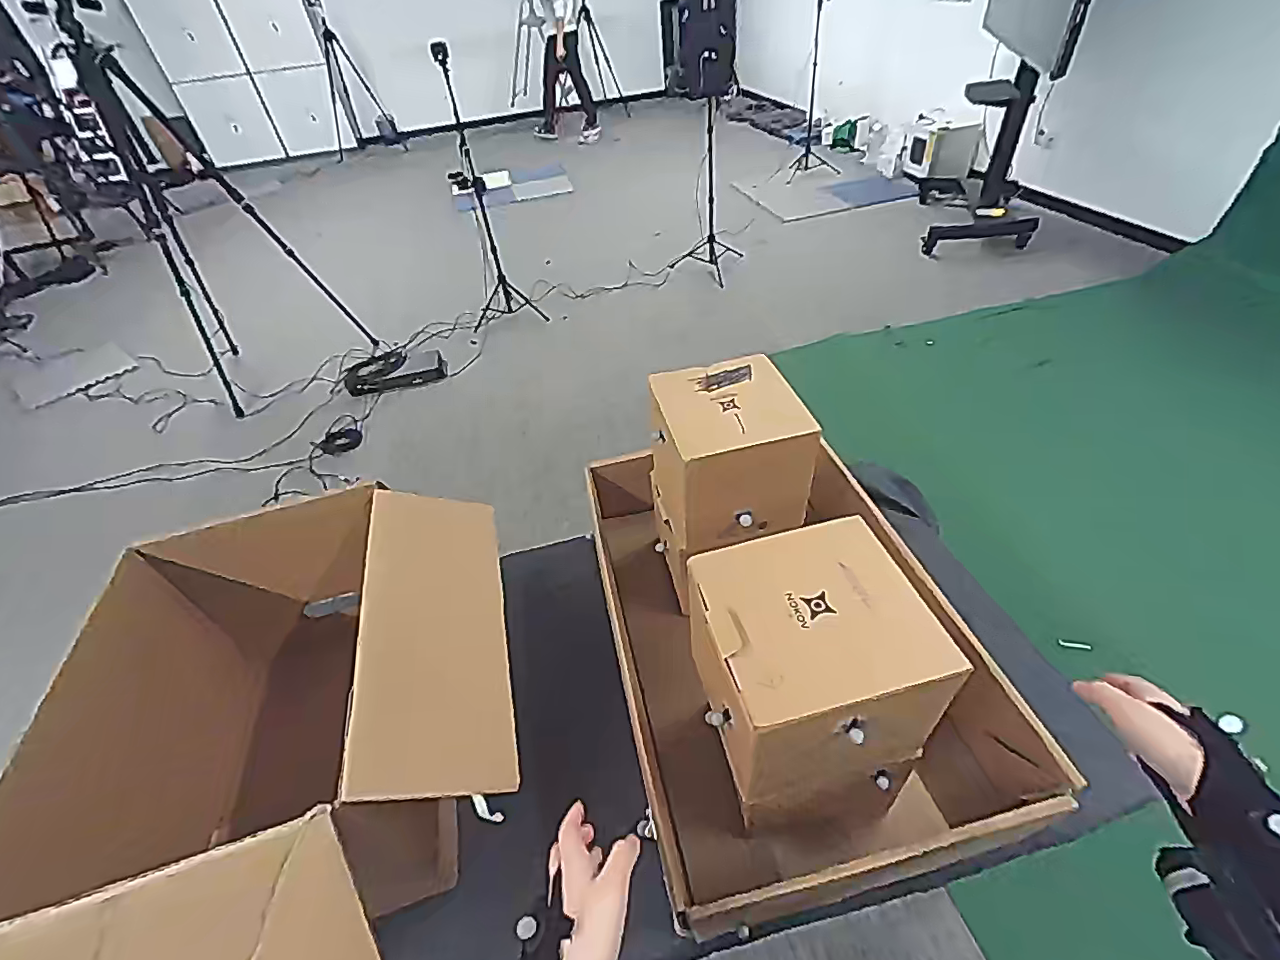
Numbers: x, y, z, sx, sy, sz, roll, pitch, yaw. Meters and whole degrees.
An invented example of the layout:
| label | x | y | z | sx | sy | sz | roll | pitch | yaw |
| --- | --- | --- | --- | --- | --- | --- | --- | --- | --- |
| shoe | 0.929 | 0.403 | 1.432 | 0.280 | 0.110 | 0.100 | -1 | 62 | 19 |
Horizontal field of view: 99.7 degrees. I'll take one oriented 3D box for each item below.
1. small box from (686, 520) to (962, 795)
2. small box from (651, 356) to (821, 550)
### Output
| label | x | y | z | sx | sy | sz | roll | pitch | yaw |
| --- | --- | --- | --- | --- | --- | --- | --- | --- | --- |
| small box | 0.151 | 0.168 | 0.510 | 0.179 | 0.176 | 0.168 | -13 | 45 | -7 |
| small box | 0.115 | -0.036 | 0.718 | 0.168 | 0.176 | 0.179 | -12 | 46 | -6 |
